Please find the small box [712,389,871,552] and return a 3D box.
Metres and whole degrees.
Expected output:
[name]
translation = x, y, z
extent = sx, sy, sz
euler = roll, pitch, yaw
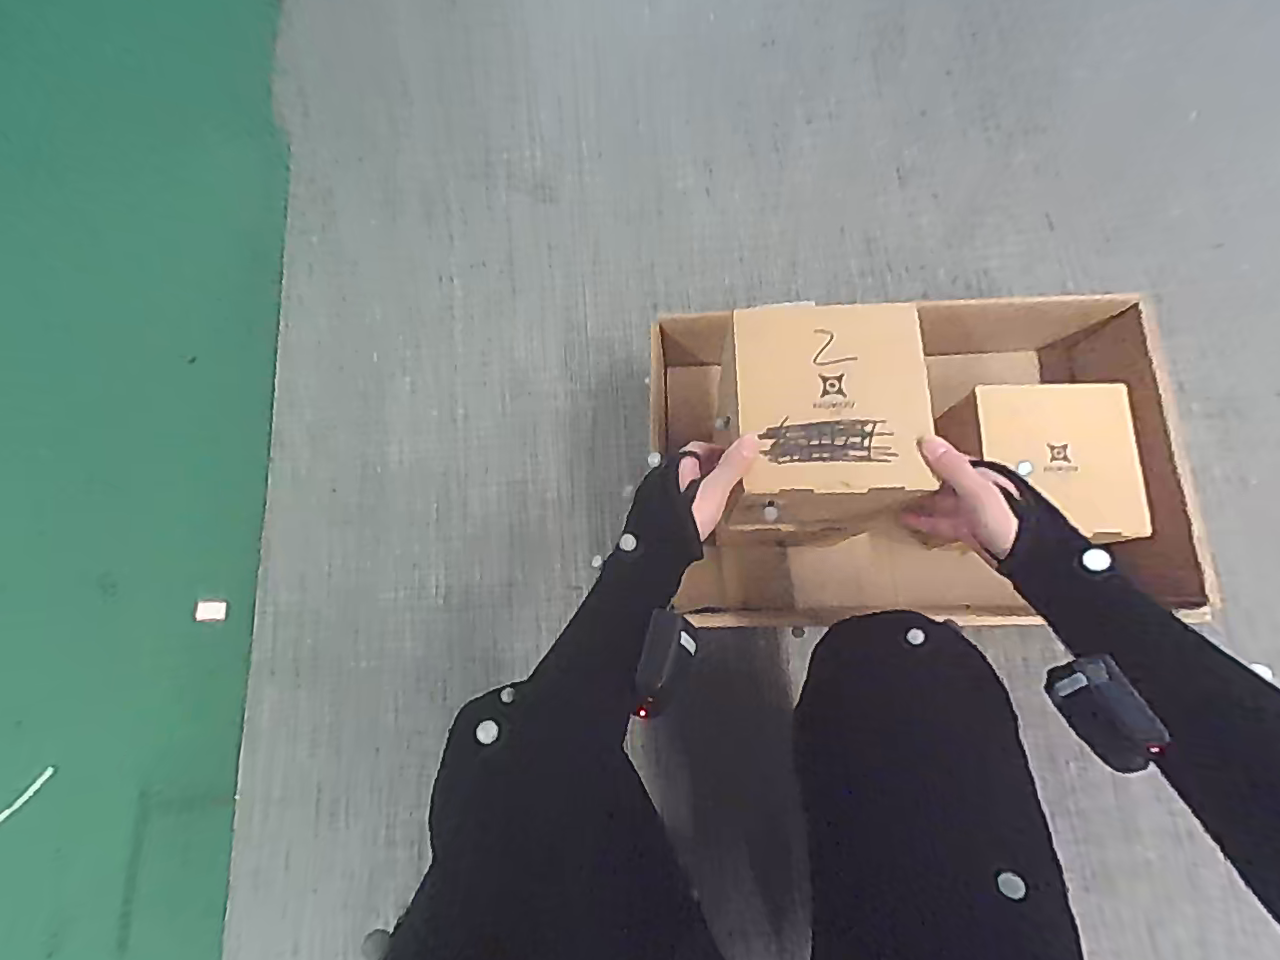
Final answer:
[small box]
translation = 0.182, -0.004, 0.704
extent = 0.168, 0.176, 0.179
euler = -1, 76, 4
